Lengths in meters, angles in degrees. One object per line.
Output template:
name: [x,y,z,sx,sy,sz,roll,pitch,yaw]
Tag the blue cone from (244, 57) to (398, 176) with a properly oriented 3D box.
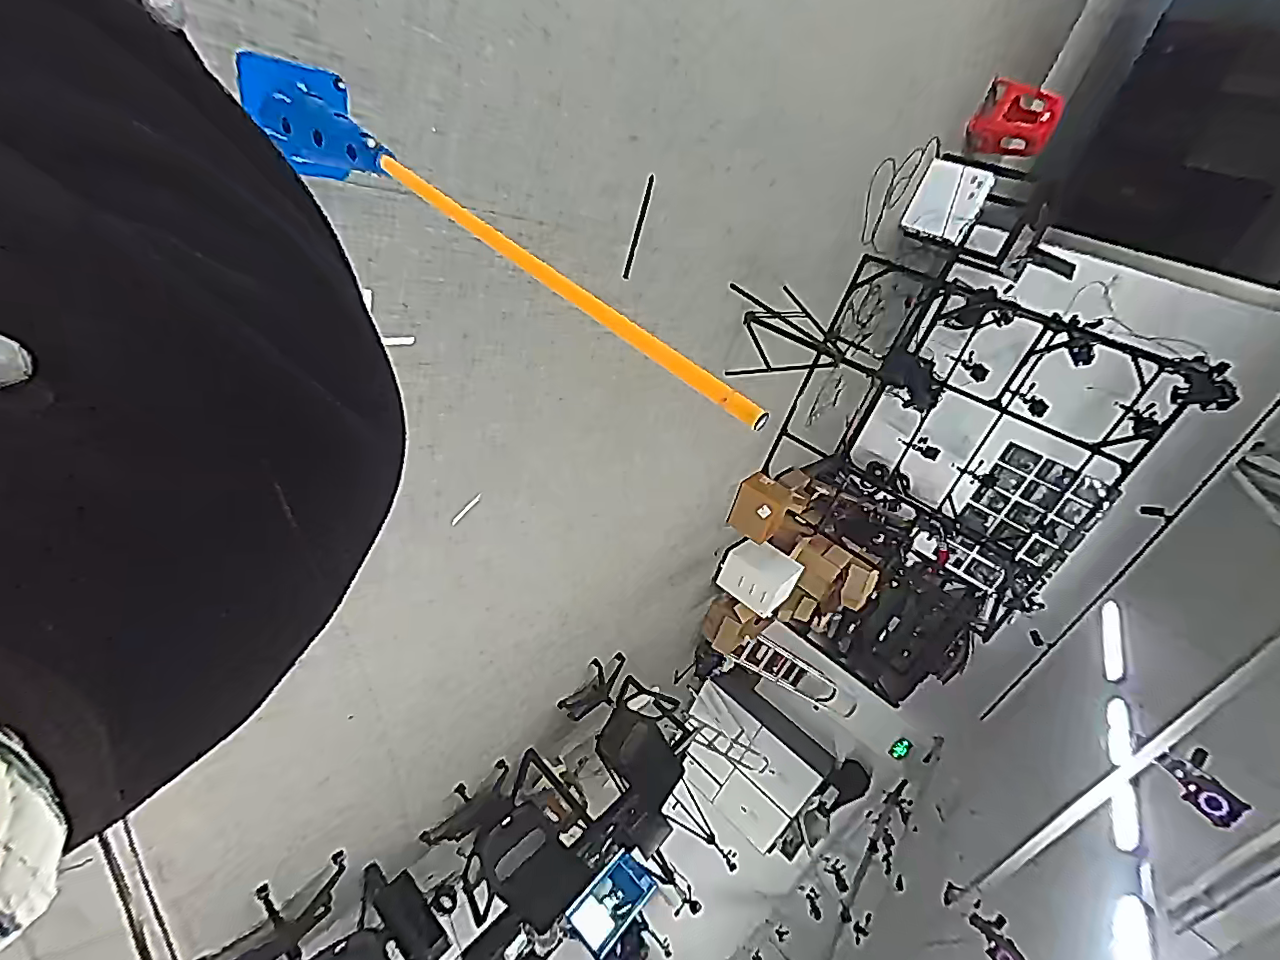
blue cone: [-0.580,-0.662,1.044,0.193,0.380,0.192,-22,137,-47]
